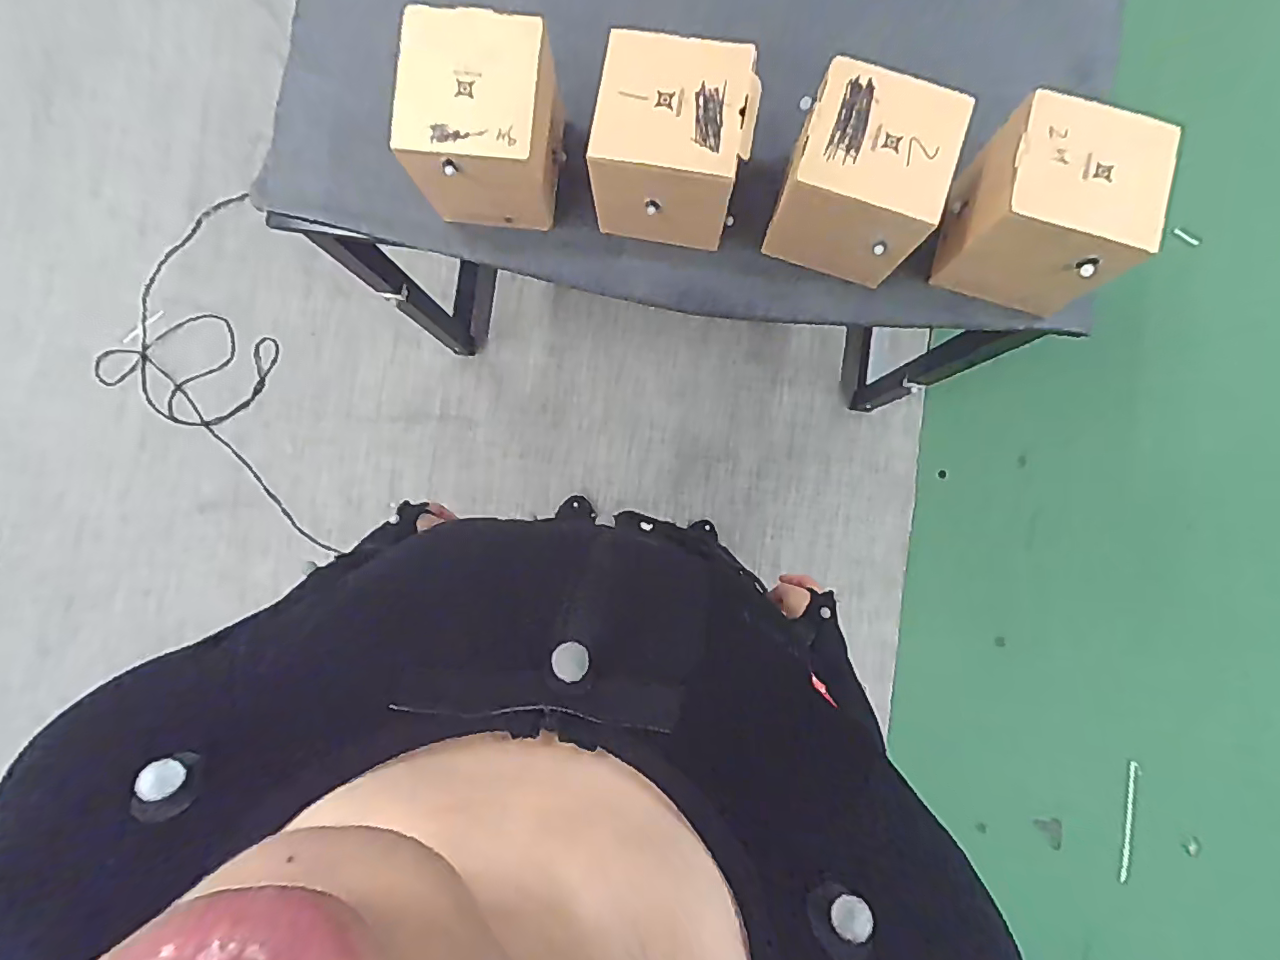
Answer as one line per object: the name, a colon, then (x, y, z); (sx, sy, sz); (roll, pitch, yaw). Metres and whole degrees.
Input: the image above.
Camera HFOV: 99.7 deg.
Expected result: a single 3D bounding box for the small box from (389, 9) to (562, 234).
small box: (-0.201, -0.457, 0.712); (0.168, 0.176, 0.179); (6, 87, 2)
